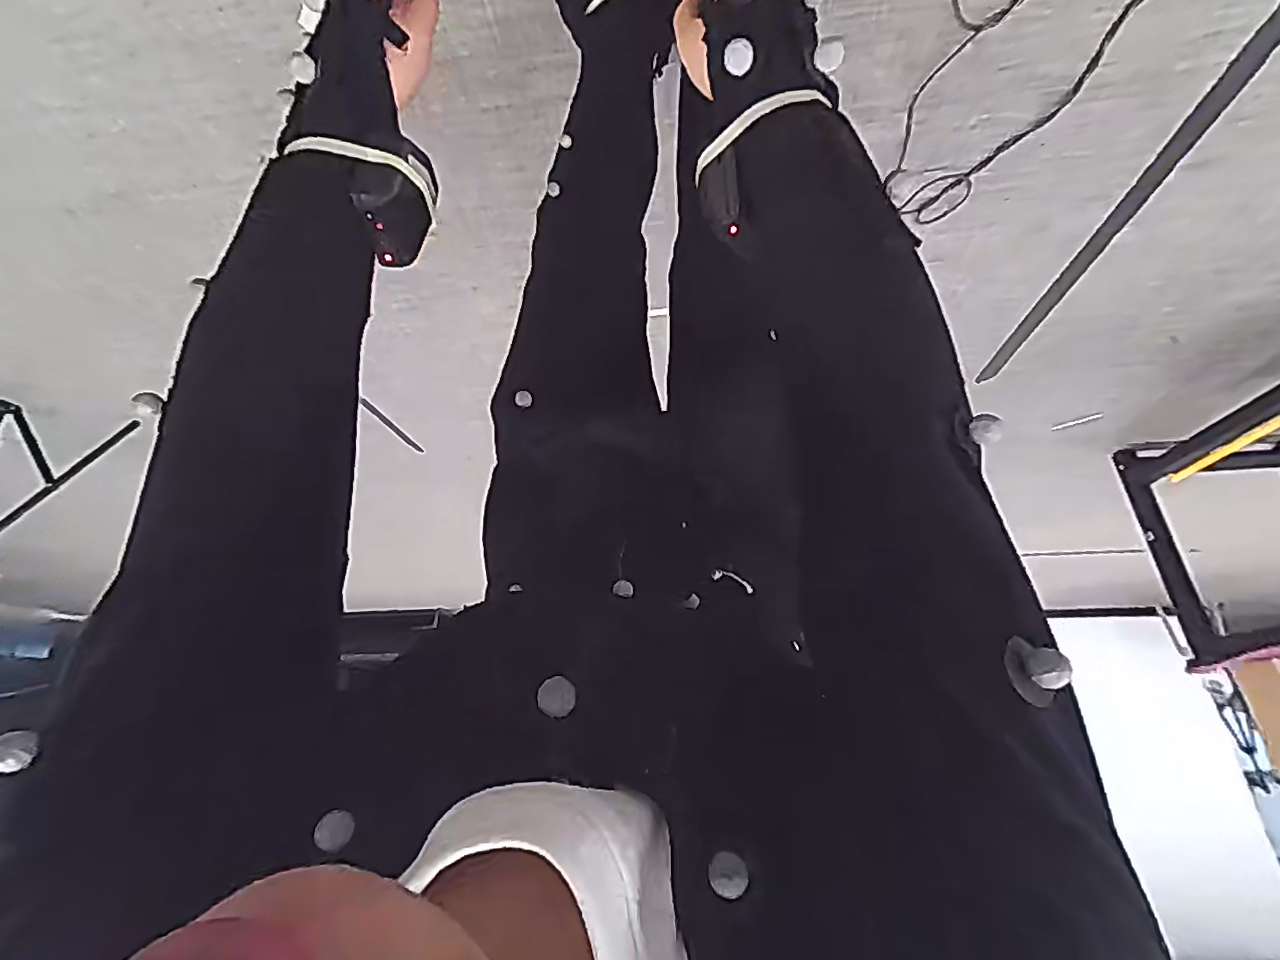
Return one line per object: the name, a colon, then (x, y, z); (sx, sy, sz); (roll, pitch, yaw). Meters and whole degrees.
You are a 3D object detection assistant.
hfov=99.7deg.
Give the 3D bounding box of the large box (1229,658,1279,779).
large box: (1.946, 0.618, 1.411); (0.408, 0.320, 0.320); (-5, 156, 6)
